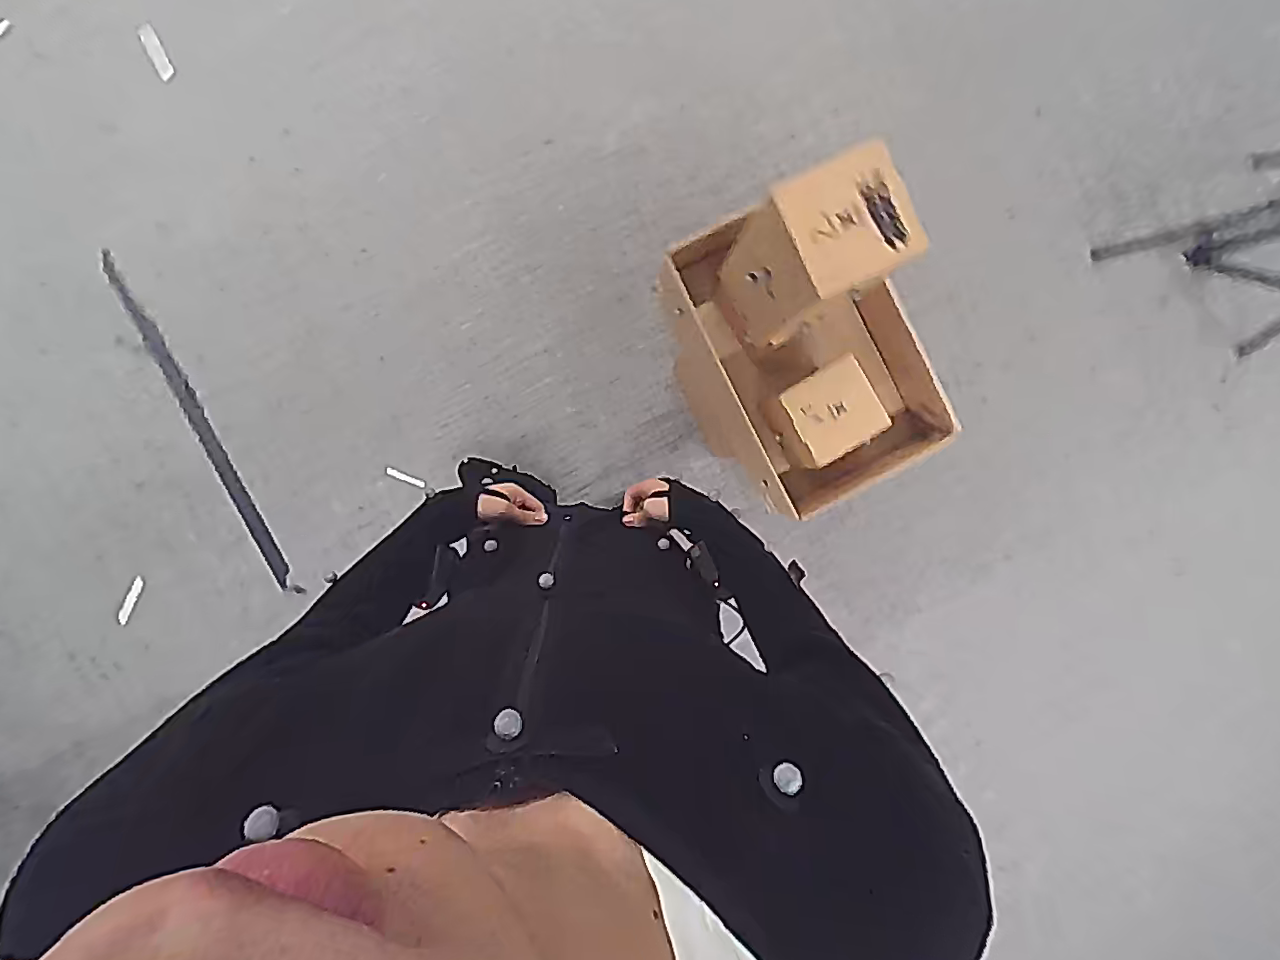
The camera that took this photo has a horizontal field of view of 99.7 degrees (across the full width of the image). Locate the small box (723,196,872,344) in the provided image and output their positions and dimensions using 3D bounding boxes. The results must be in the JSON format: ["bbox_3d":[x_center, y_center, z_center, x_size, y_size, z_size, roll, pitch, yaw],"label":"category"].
[{"bbox_3d":[0.274,-0.369,0.980,0.179,0.176,0.168,-27,93,-4],"label":"small box"}]
